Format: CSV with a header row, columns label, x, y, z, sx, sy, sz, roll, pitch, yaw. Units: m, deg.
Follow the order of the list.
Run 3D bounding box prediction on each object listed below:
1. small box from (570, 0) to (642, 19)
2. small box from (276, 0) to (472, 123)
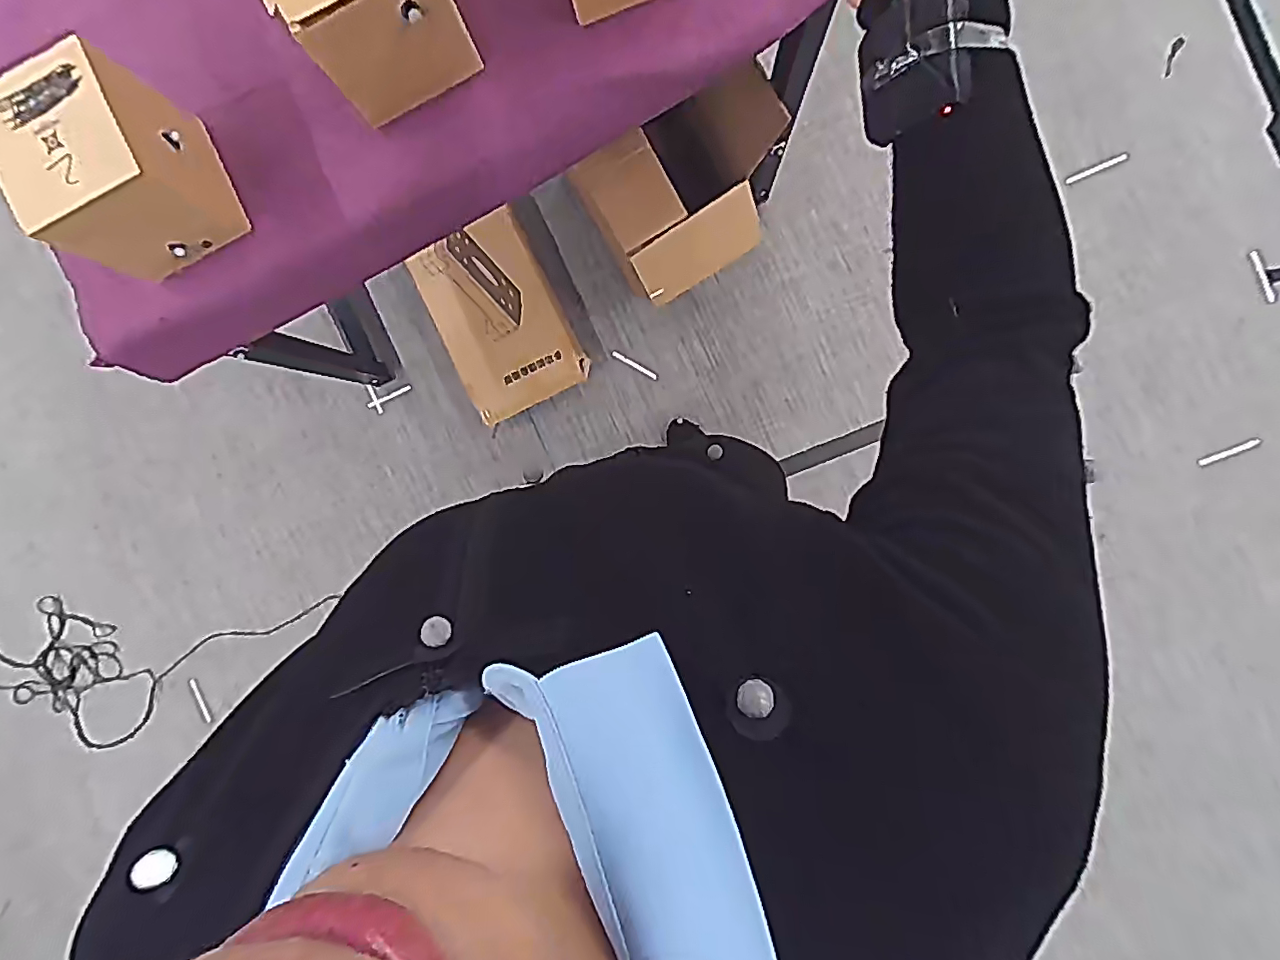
label,x,y,z,sx,sy,sz,roll,pitch,yaw
small box,-0.032,-0.707,0.638,0.179,0.176,0.168,-18,92,4
small box,-0.329,-0.594,0.662,0.179,0.176,0.168,-25,89,5
